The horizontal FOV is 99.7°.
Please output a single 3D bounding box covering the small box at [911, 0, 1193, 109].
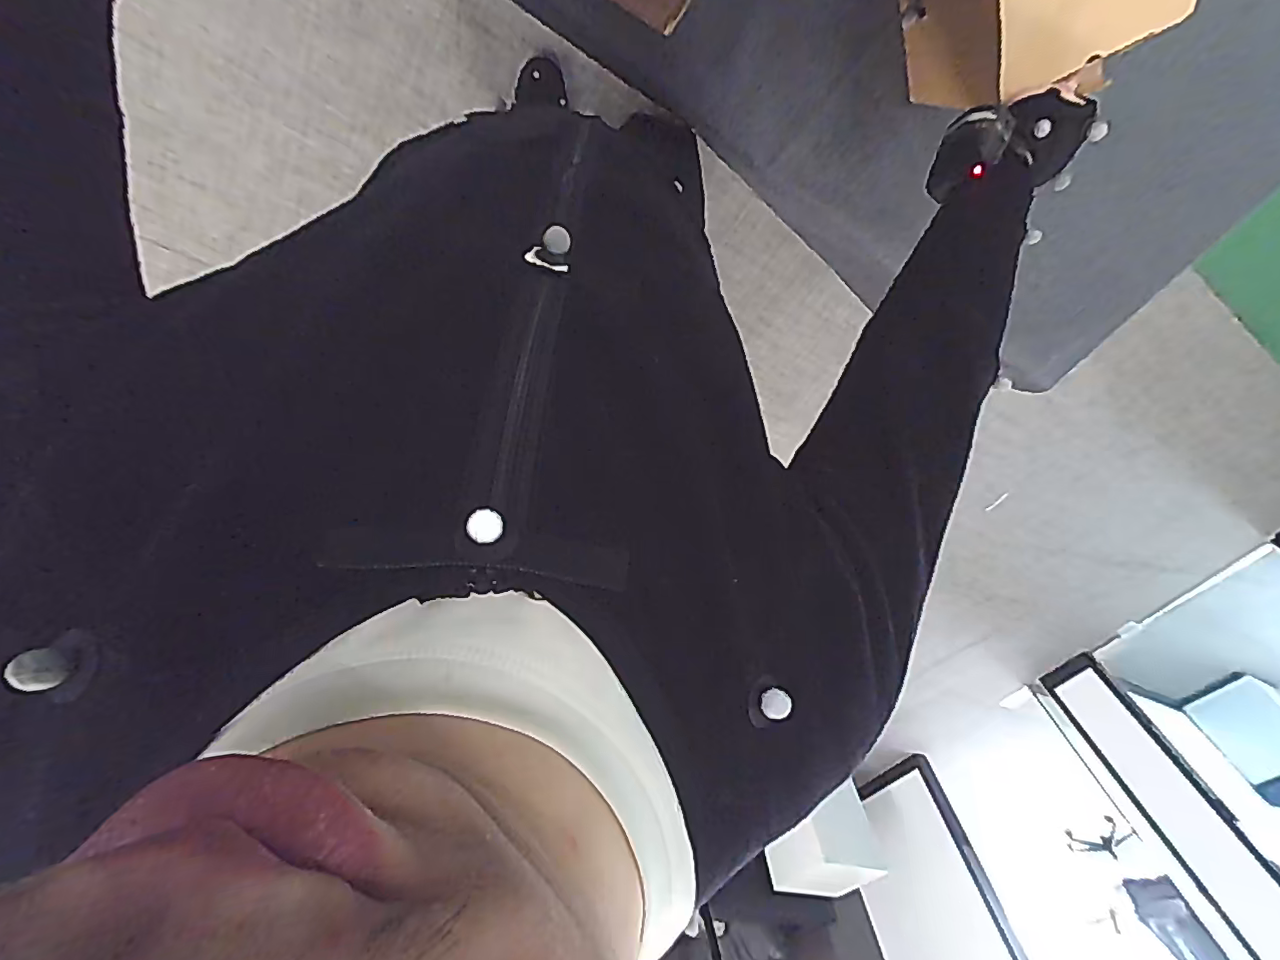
[{"bbox_3d":[0.368,-0.485,0.499,0.168,0.176,0.179,-21,128,12],"label":"small box"}]
